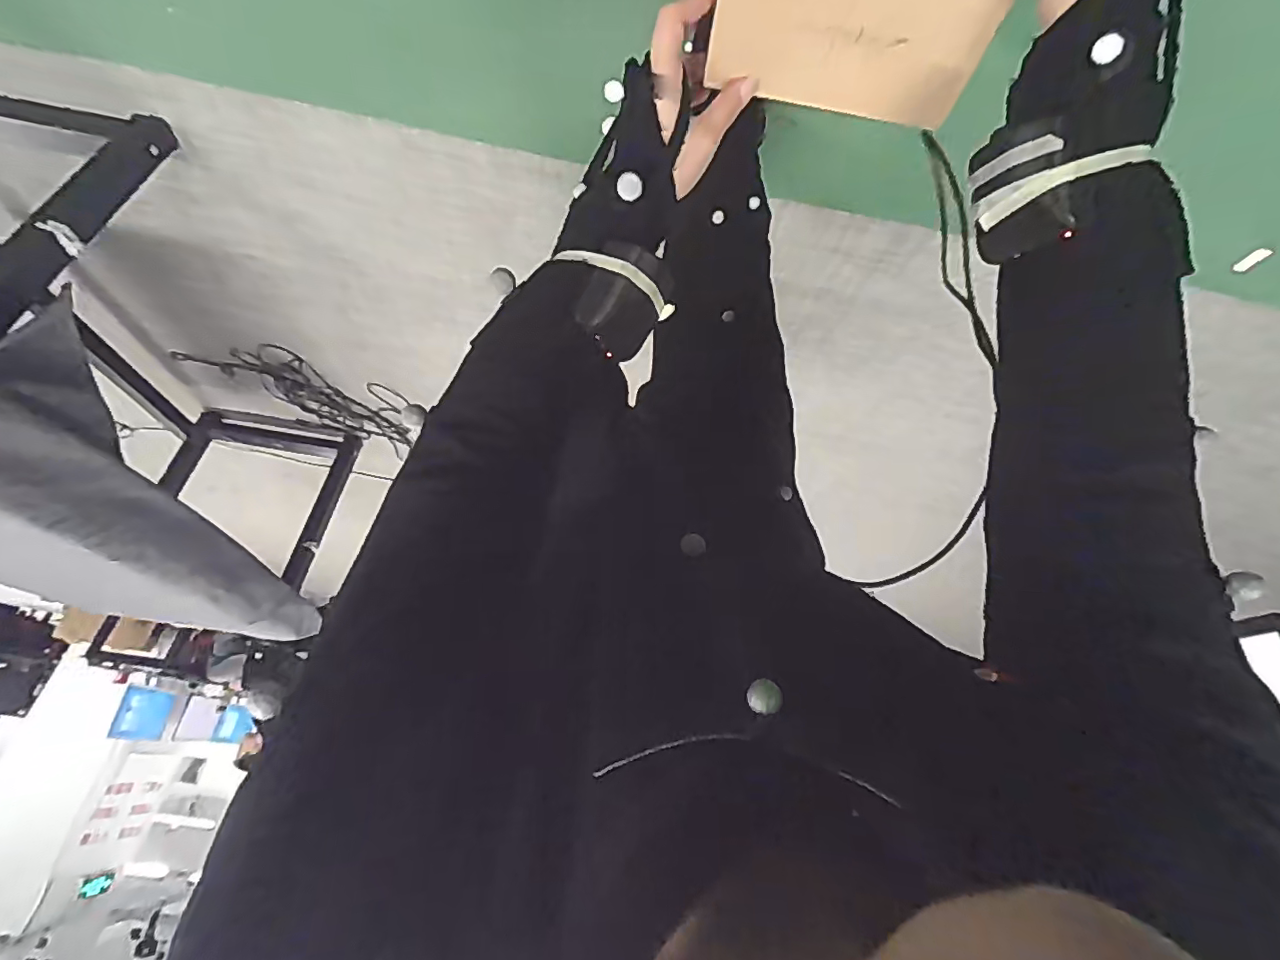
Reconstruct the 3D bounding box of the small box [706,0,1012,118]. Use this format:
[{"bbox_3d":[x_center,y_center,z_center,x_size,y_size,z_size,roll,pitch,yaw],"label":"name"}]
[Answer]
[{"bbox_3d":[0.142,-0.363,0.318,0.168,0.176,0.179,11,153,0],"label":"small box"}]
